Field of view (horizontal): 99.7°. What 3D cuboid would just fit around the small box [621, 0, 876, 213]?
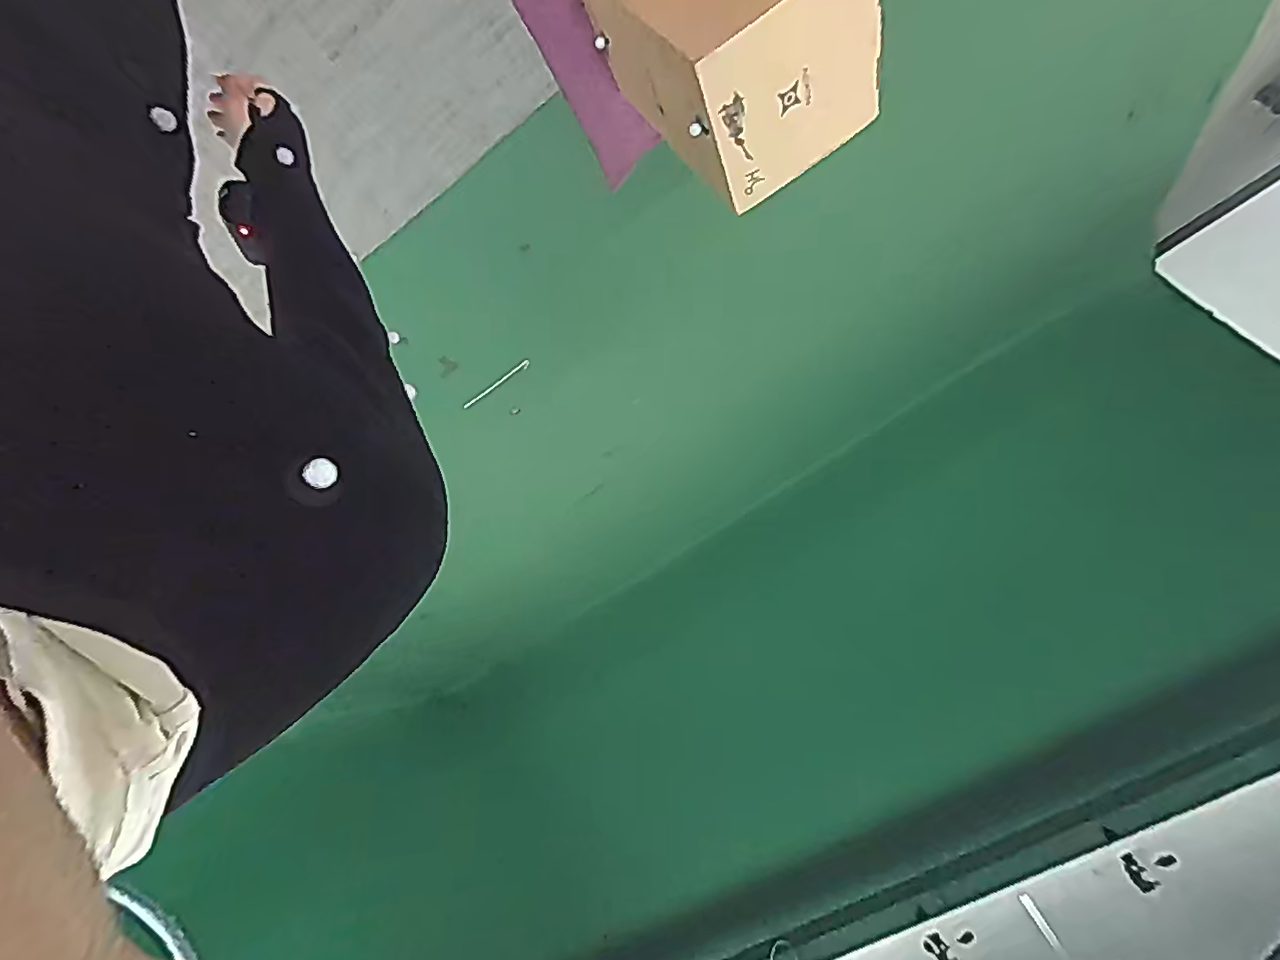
[{"bbox_3d":[0.110,-0.423,0.544,0.179,0.176,0.168,-33,149,7],"label":"small box"}]
